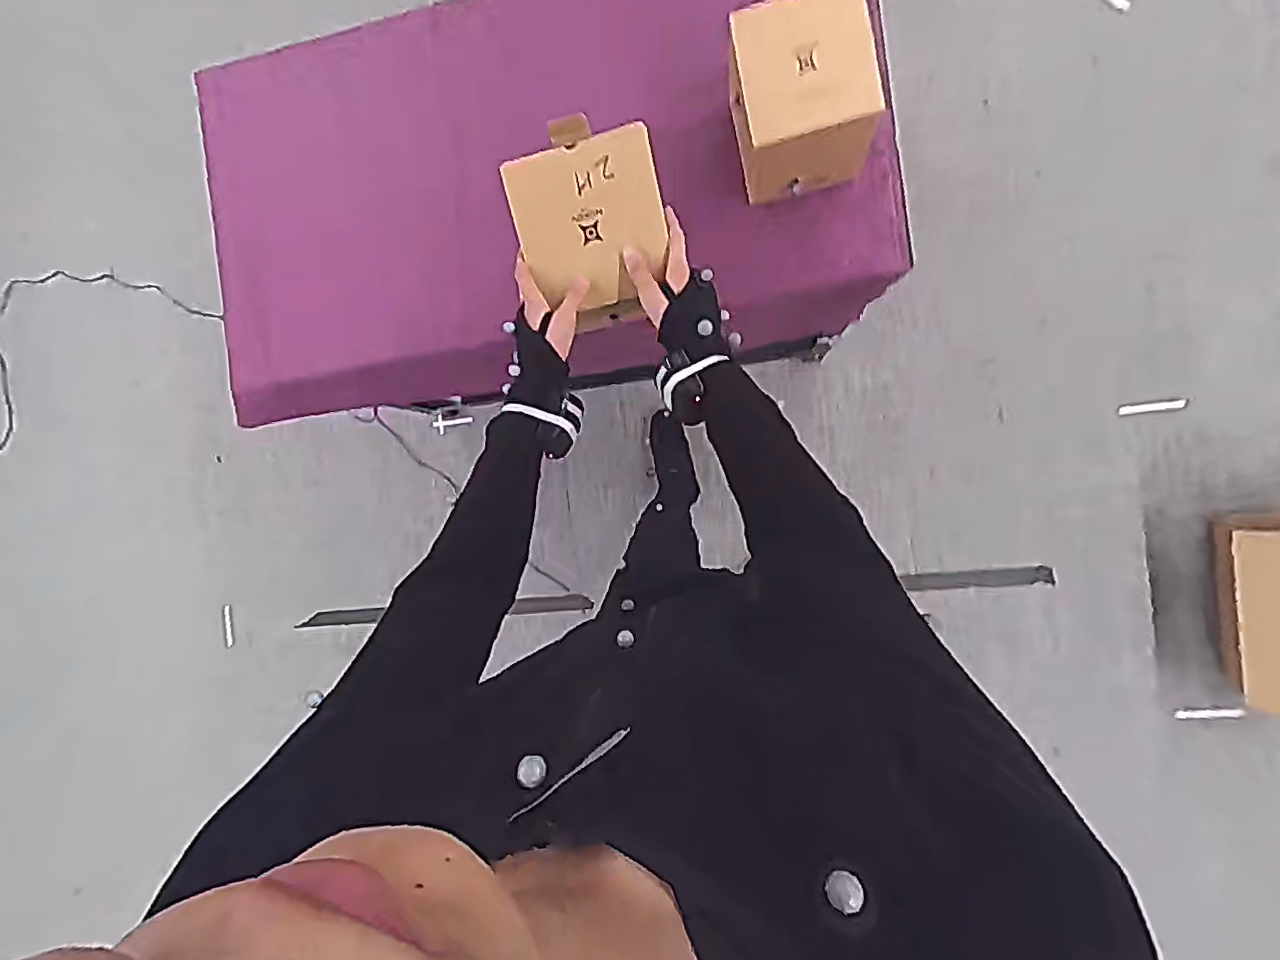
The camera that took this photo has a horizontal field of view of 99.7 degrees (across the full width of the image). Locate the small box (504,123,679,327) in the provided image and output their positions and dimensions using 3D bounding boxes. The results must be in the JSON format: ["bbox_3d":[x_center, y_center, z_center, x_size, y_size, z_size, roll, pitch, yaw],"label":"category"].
[{"bbox_3d":[-0.046,-0.297,0.676,0.168,0.176,0.179,-13,99,6],"label":"small box"}]

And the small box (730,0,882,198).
[{"bbox_3d":[0.220,-0.539,0.760,0.168,0.176,0.179,-10,89,11],"label":"small box"}]
